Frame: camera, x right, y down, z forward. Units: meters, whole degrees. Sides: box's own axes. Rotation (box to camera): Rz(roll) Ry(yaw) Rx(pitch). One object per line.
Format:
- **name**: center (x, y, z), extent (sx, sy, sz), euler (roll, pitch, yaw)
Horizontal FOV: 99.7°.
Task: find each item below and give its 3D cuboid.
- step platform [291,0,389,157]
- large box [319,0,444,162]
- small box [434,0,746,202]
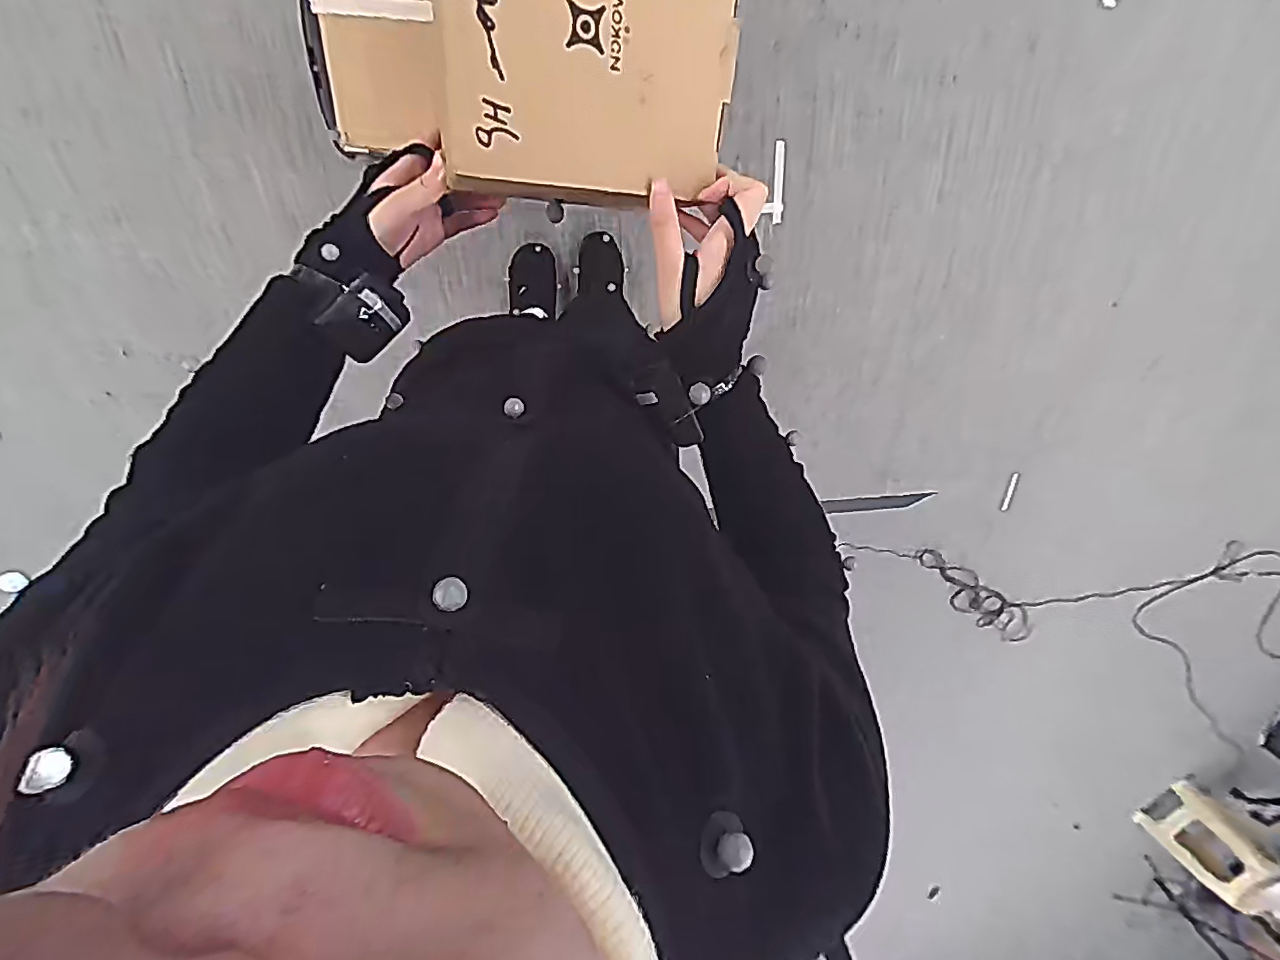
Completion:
- **step platform**: center (-0.276, -0.772, 1.053), extent (0.684, 0.204, 0.286), euler (1, 117, -8)
- **large box**: center (-0.226, -0.674, 0.840), extent (0.408, 0.320, 0.320), euler (-1, 117, -7)
- **small box**: center (-0.046, -0.295, 0.377), extent (0.179, 0.176, 0.168), euler (-4, 114, -20)
